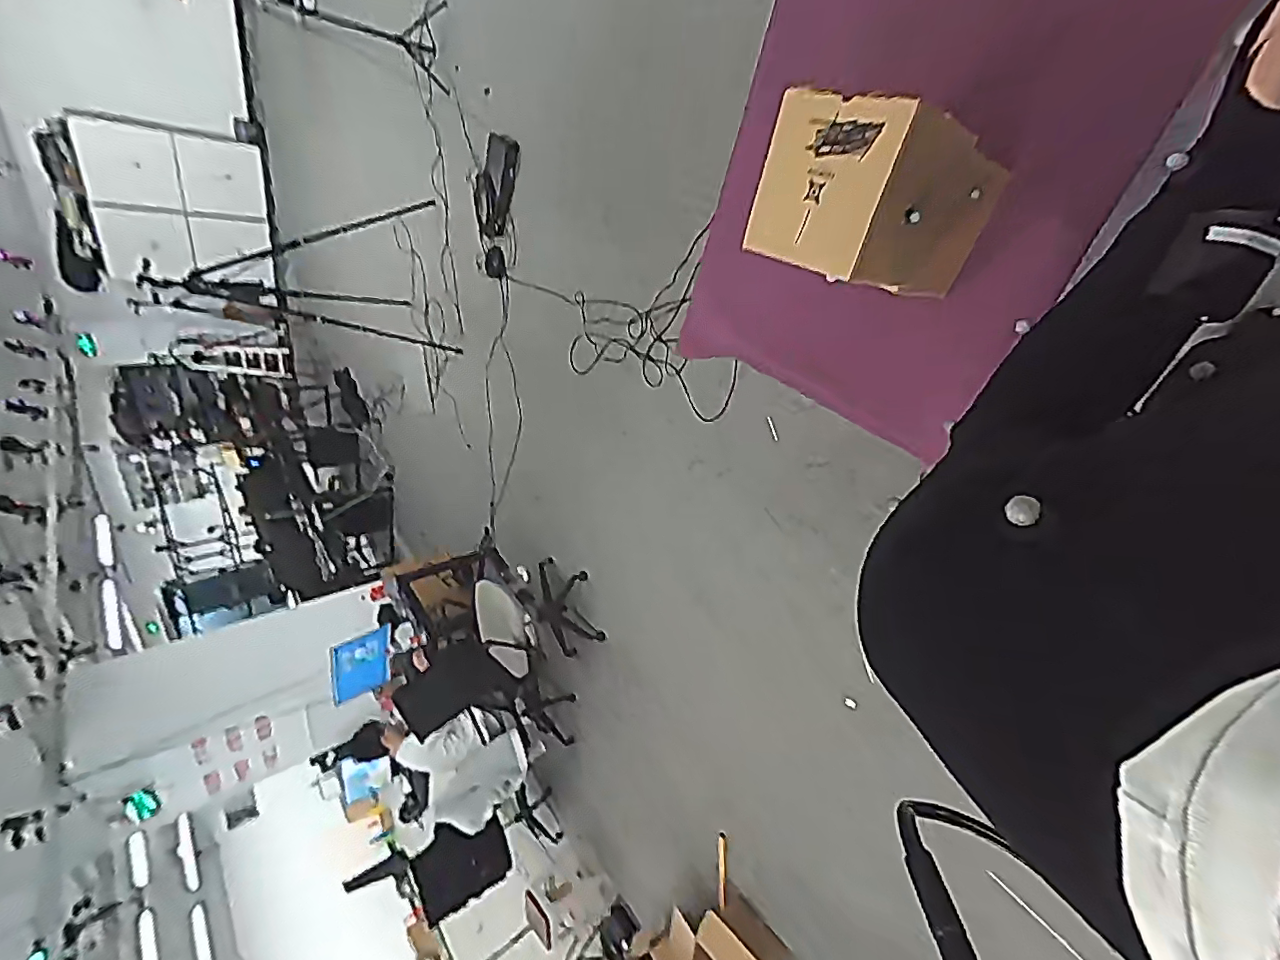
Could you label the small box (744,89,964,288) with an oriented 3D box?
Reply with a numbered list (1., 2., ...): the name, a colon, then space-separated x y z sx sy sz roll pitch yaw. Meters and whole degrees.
1. small box: 0.263 -0.347 0.662 0.168 0.176 0.179 38 127 36
